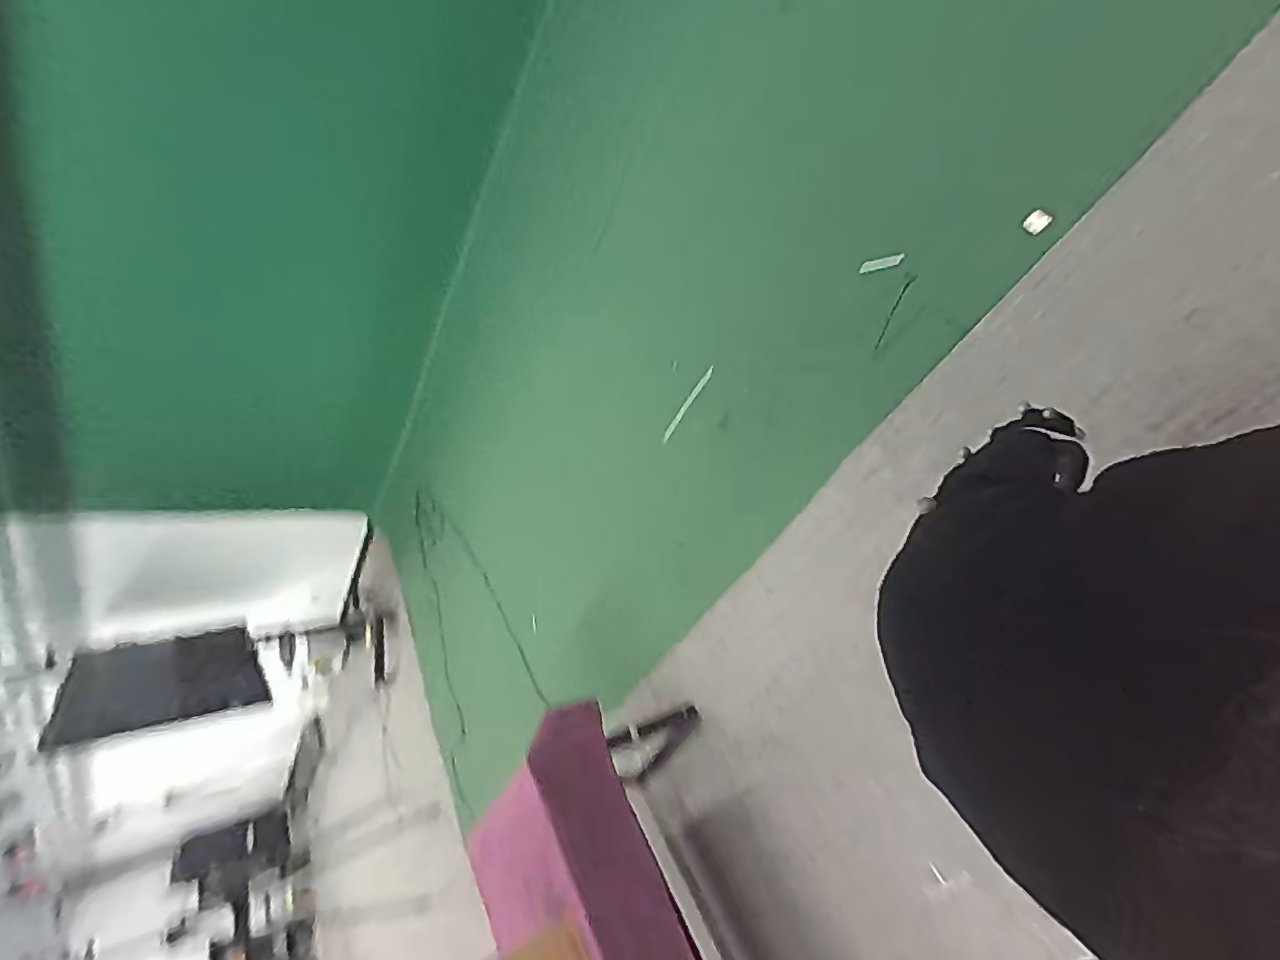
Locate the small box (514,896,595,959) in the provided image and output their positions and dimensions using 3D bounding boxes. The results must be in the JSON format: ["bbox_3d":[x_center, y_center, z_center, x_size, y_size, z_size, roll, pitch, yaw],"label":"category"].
[{"bbox_3d":[-0.241,1.225,1.393,0.168,0.176,0.179,54,128,33],"label":"small box"}]
